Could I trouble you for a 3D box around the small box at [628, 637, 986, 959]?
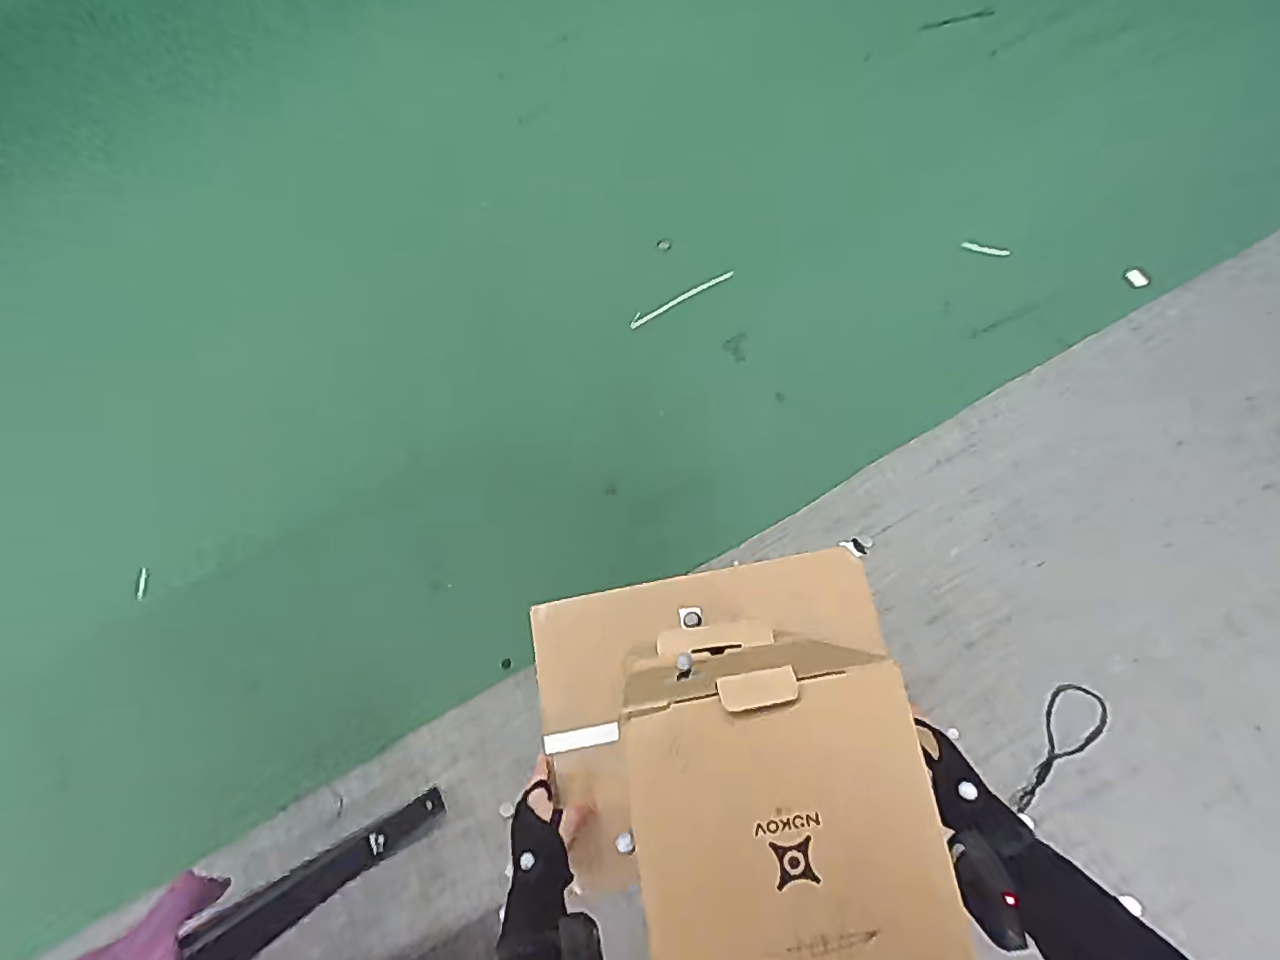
[{"bbox_3d":[0.084,0.206,0.364,0.168,0.176,0.179,-9,78,-1],"label":"small box"}]
